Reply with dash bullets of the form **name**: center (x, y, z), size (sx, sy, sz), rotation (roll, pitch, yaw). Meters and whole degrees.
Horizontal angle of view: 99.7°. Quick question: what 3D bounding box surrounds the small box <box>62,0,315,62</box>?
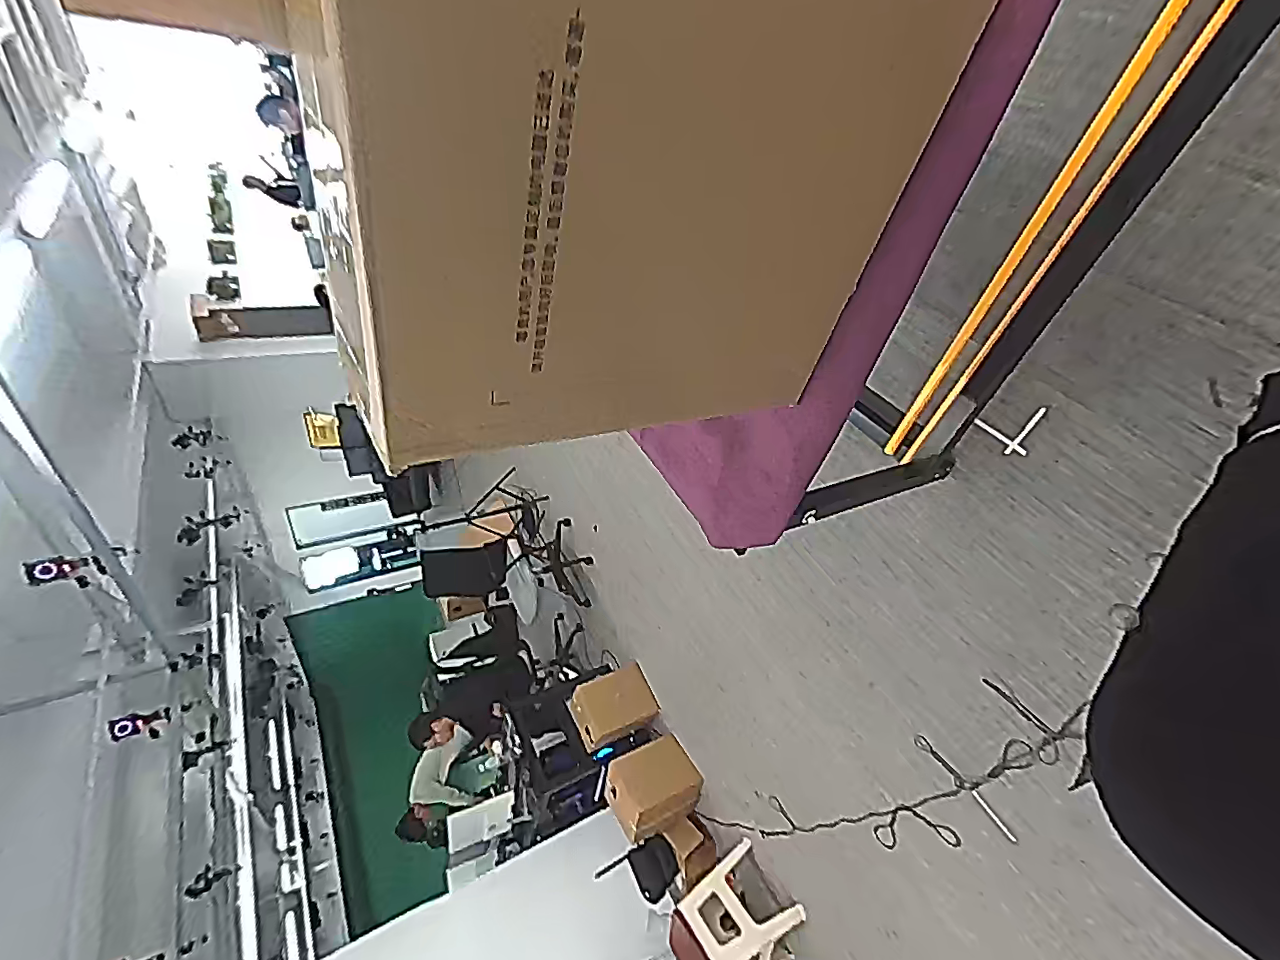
- **small box**: center (-0.394, -0.482, 0.454), size (0.168, 0.176, 0.179), rotation (51, 143, 39)
